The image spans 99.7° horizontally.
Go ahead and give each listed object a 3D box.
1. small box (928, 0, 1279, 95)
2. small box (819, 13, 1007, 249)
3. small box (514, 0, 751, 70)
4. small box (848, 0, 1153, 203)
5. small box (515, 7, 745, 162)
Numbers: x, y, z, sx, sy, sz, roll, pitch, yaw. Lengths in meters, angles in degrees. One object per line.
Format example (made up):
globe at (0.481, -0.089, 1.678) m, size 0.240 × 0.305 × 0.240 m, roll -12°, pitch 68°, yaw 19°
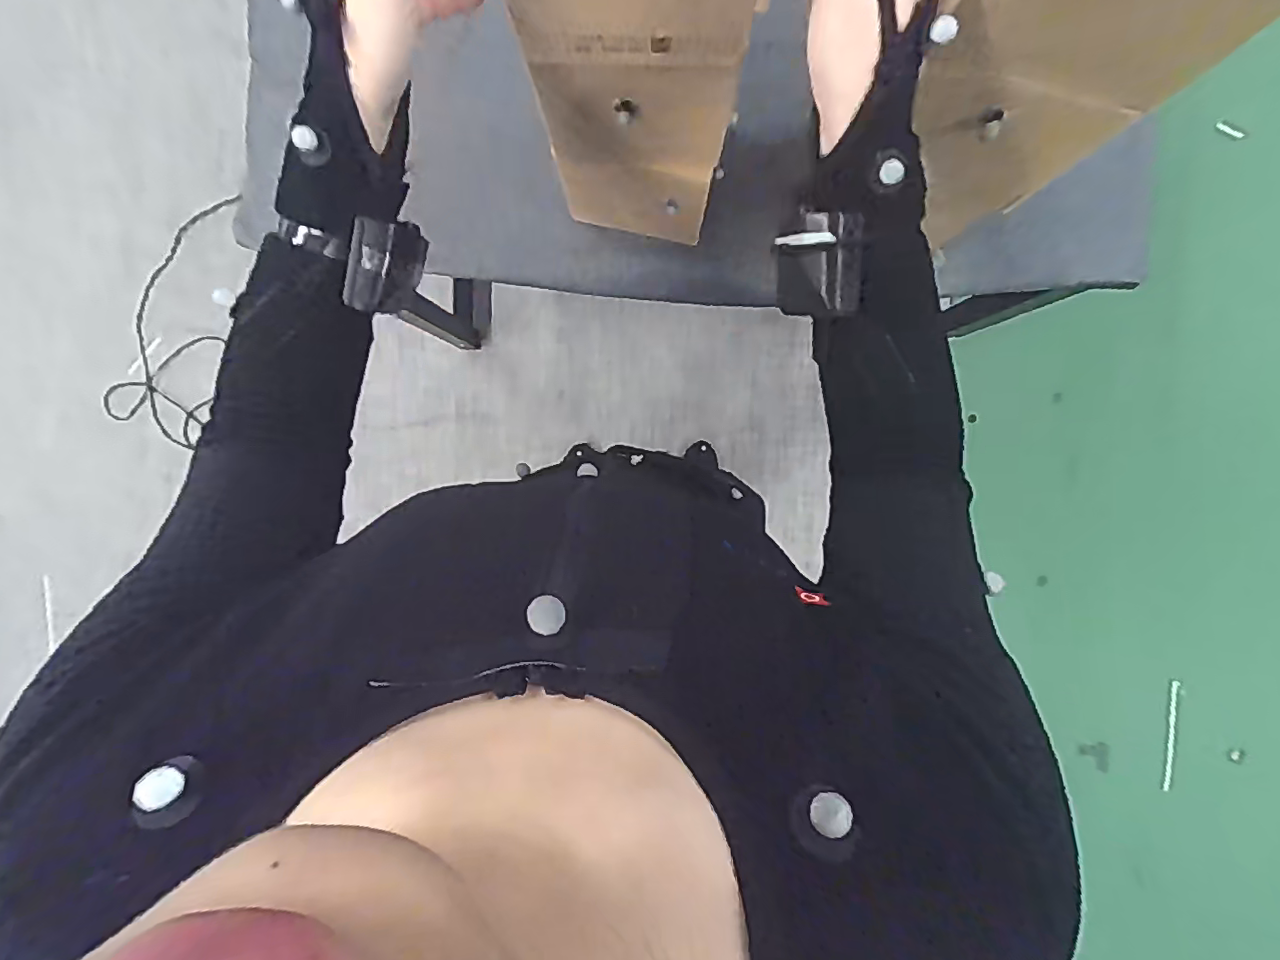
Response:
small box at (0.311, -0.370, 0.314) m, size 0.179 × 0.176 × 0.168 m, roll 16°, pitch 93°, yaw 2°
small box at (0.321, -0.396, 0.641) m, size 0.168 × 0.176 × 0.179 m, roll 3°, pitch 93°, yaw 2°
small box at (-0.006, -0.395, 0.322) m, size 0.168 × 0.176 × 0.179 m, roll 2°, pitch 92°, yaw 1°
small box at (0.314, -0.375, 0.479) m, size 0.179 × 0.176 × 0.168 m, roll 14°, pitch 93°, yaw 2°
small box at (-0.003, -0.412, 0.485) m, size 0.179 × 0.176 × 0.168 m, roll 3°, pitch 93°, yaw 2°
